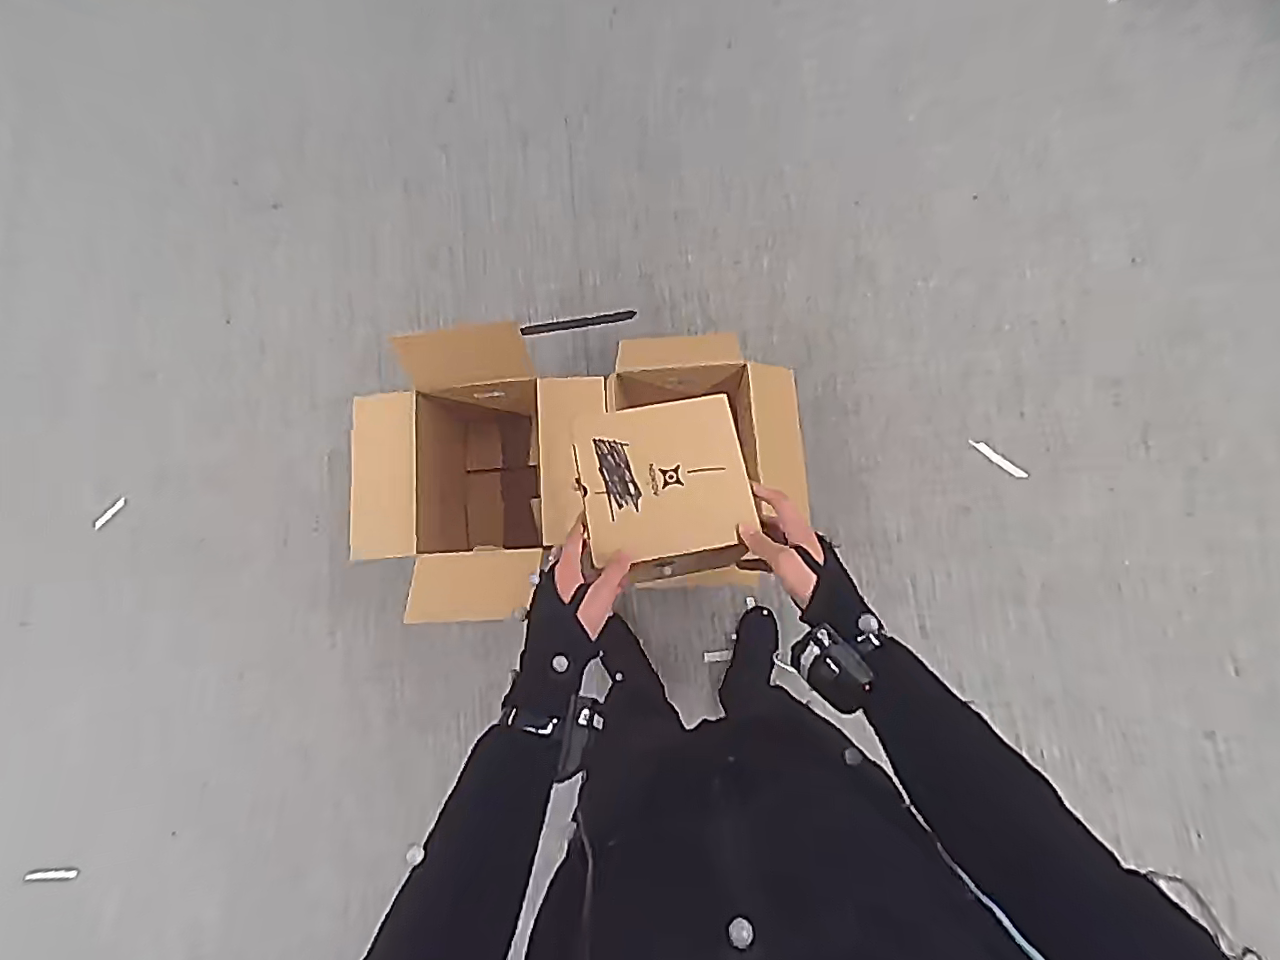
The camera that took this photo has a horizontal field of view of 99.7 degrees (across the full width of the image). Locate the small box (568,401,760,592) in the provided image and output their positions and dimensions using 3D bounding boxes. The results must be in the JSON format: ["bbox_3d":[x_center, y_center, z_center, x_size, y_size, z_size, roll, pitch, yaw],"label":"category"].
[{"bbox_3d":[0.022,0.029,0.631,0.179,0.176,0.168,-10,72,-4],"label":"small box"}]
